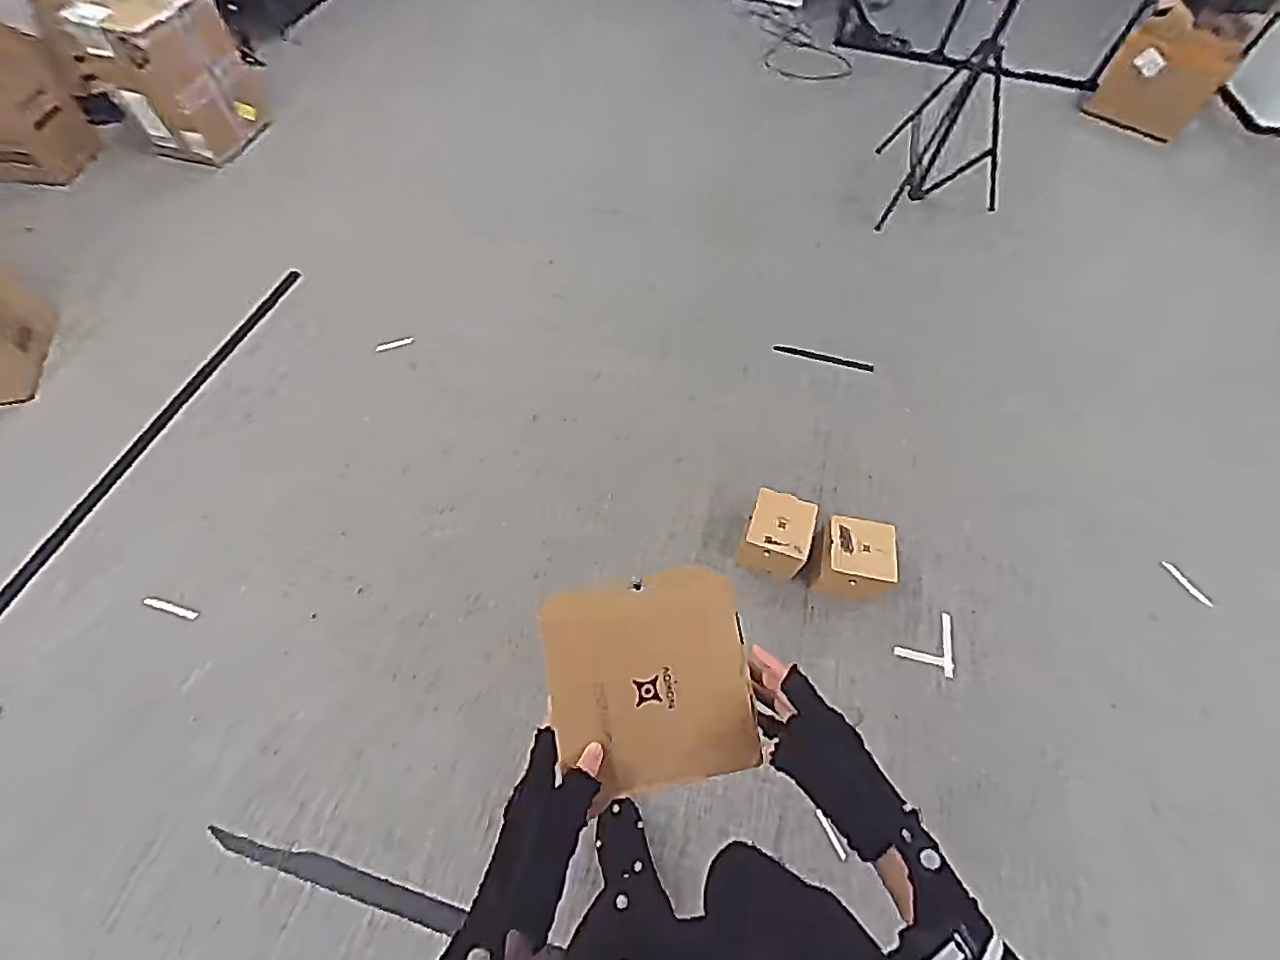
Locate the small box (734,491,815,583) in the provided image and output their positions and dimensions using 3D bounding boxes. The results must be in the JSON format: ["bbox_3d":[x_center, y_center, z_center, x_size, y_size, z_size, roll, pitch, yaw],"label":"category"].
[{"bbox_3d":[0.374,0.163,1.521,0.168,0.176,0.179,18,61,8],"label":"small box"}]

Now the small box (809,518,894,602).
[{"bbox_3d":[0.578,0.226,1.495,0.179,0.176,0.168,11,61,3],"label":"small box"}]

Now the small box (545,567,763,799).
[{"bbox_3d":[0.005,0.185,0.550,0.179,0.176,0.168,-8,85,-6],"label":"small box"}]
